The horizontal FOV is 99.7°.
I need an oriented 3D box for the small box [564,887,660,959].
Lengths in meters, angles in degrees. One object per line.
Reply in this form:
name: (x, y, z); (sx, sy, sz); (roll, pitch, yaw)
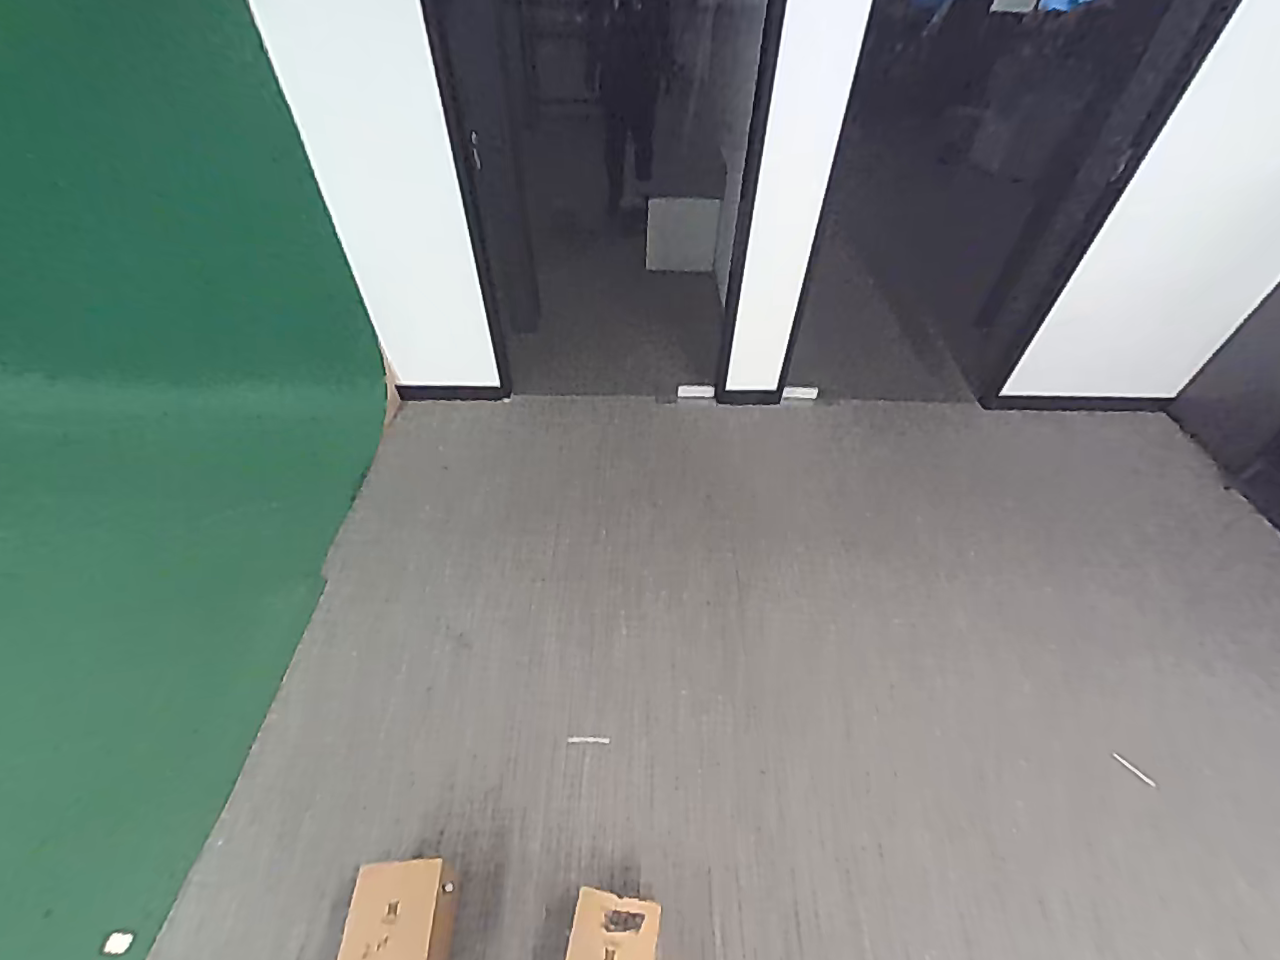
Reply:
small box: (-0.058, 0.934, 1.060); (0.168, 0.176, 0.179); (8, 47, 7)

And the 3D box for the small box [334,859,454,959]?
small box: (-0.484, 0.890, 1.091); (0.168, 0.176, 0.179); (-2, 46, -3)
